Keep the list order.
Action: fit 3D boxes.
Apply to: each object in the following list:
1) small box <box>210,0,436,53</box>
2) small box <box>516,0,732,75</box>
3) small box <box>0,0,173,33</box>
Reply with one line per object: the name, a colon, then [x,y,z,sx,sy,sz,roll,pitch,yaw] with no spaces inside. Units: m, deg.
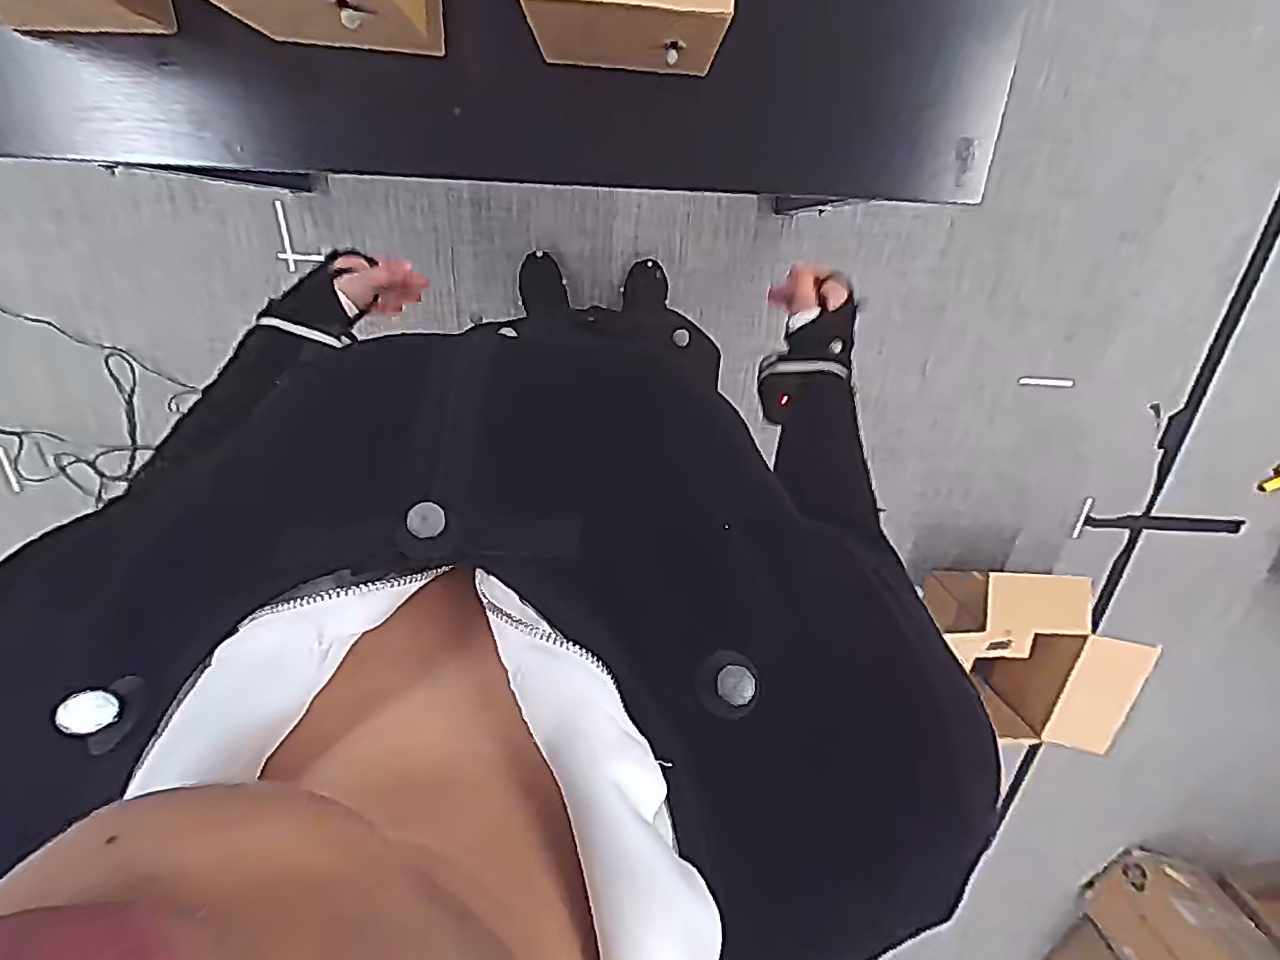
small box: [-0.284,-0.493,0.460,0.179,0.176,0.168,3,113,-3]
small box: [-0.011,-0.483,0.477,0.179,0.176,0.168,2,112,-2]
small box: [-0.557,-0.500,0.447,0.179,0.176,0.168,0,114,-2]
